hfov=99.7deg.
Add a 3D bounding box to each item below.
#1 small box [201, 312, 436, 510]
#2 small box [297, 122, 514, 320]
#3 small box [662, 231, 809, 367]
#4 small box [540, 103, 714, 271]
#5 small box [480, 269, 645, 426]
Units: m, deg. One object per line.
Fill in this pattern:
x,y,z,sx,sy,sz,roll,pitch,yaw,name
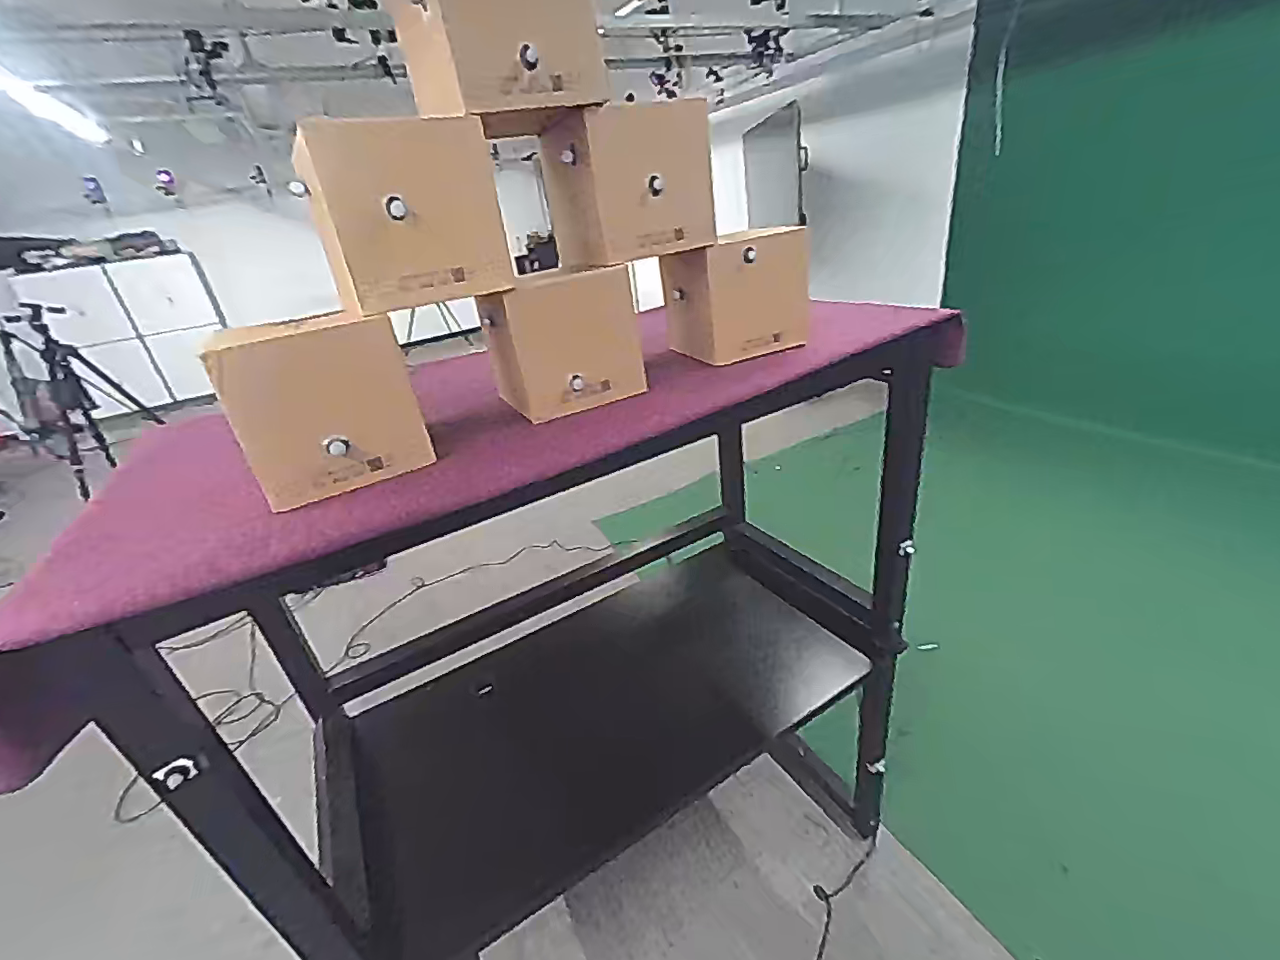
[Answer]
-0.349,-0.087,0.611,0.168,0.176,0.179,-21,30,-24,small box
-0.258,-0.279,0.603,0.168,0.176,0.179,-22,28,-26,small box
0.146,-0.284,0.851,0.168,0.176,0.179,-18,27,-15,small box
-0.015,-0.381,0.726,0.168,0.176,0.179,-20,28,-21,small box
-0.110,-0.188,0.742,0.168,0.176,0.179,-20,29,-20,small box
